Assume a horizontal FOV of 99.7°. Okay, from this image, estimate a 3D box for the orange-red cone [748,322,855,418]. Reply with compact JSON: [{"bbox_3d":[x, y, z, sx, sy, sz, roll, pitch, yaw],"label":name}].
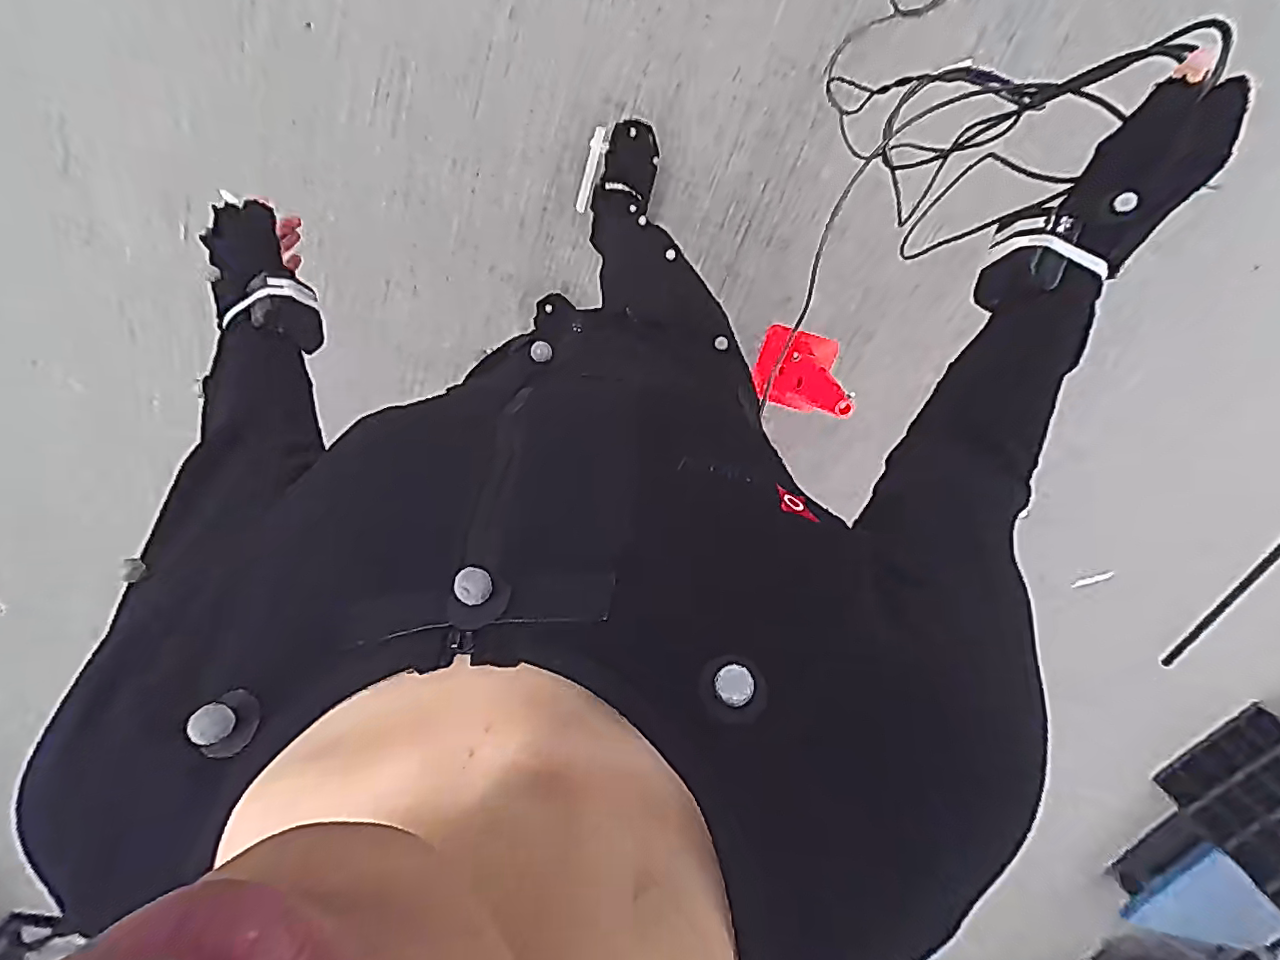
[{"bbox_3d":[0.412,-0.222,1.259,0.199,0.360,0.198,14,114,-11],"label":"orange-red cone"}]
